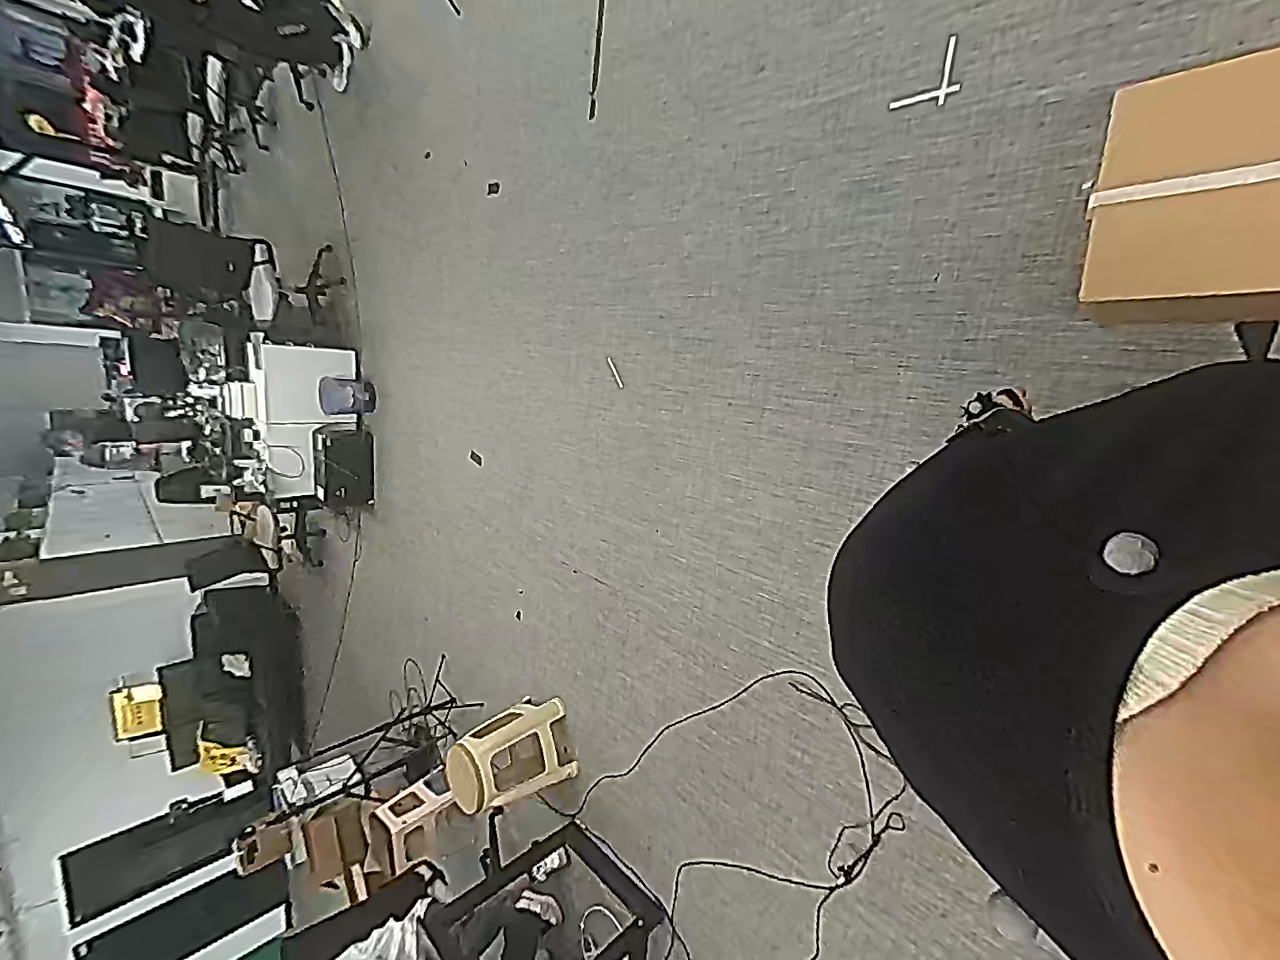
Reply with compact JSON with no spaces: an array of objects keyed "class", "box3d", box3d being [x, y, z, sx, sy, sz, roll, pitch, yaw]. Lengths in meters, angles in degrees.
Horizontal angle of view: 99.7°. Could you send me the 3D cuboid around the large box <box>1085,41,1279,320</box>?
[{"class":"large box","box3d":[0.953,-0.426,0.806,0.408,0.320,0.320,12,104,43]}]
